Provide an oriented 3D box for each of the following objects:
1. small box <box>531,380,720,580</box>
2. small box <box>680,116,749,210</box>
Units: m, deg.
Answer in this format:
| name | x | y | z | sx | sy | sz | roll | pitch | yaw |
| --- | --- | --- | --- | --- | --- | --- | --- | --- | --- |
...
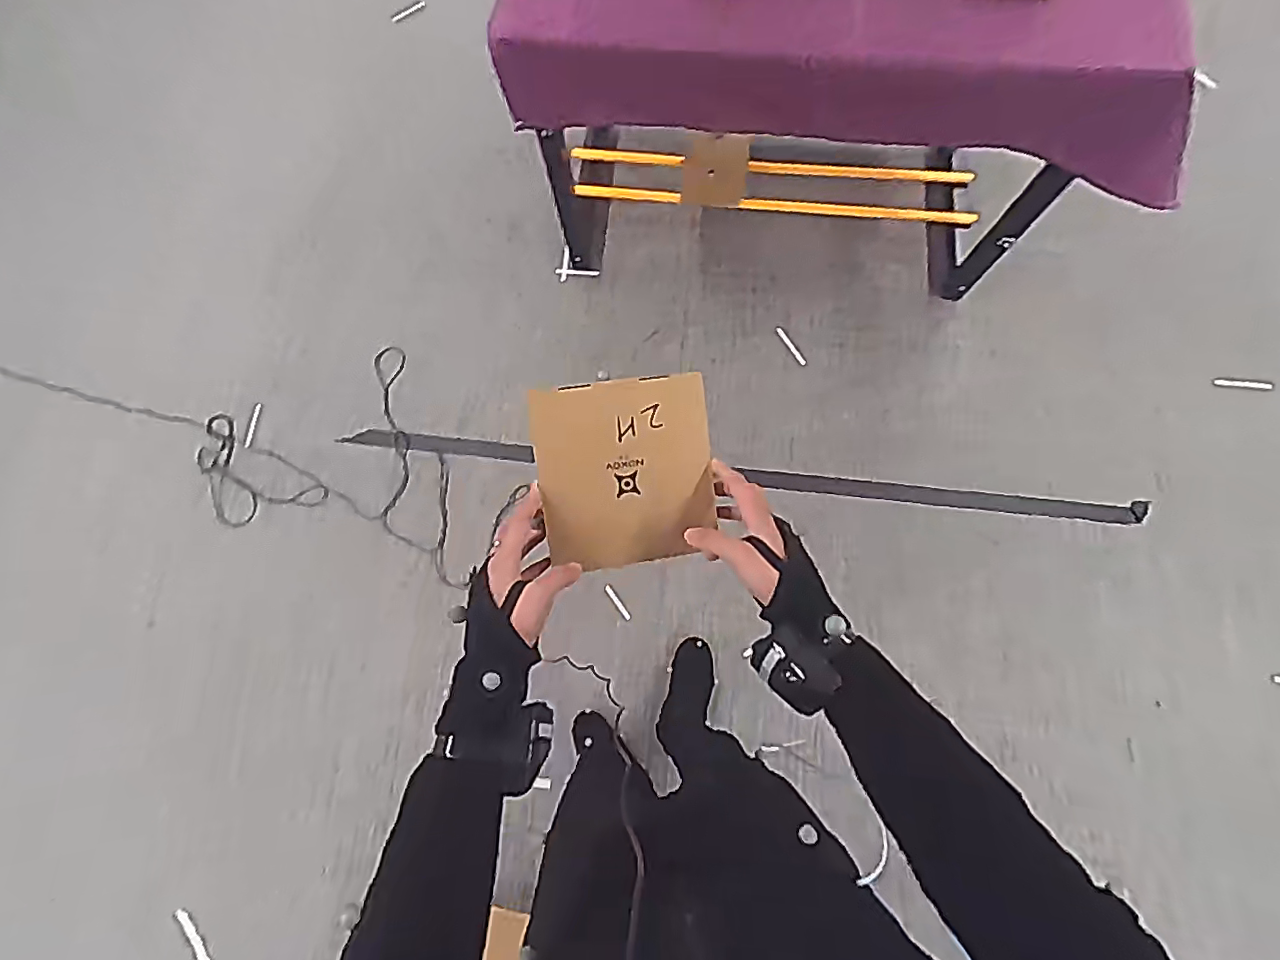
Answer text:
| name | x | y | z | sx | sy | sz | roll | pitch | yaw |
| --- | --- | --- | --- | --- | --- | --- | --- | --- | --- |
| small box | -0.021 | -0.011 | 0.582 | 0.168 | 0.176 | 0.179 | -8 | 98 | -8 |
| small box | 0.209 | -0.898 | 1.545 | 0.179 | 0.176 | 0.168 | 4 | 77 | 3 |
